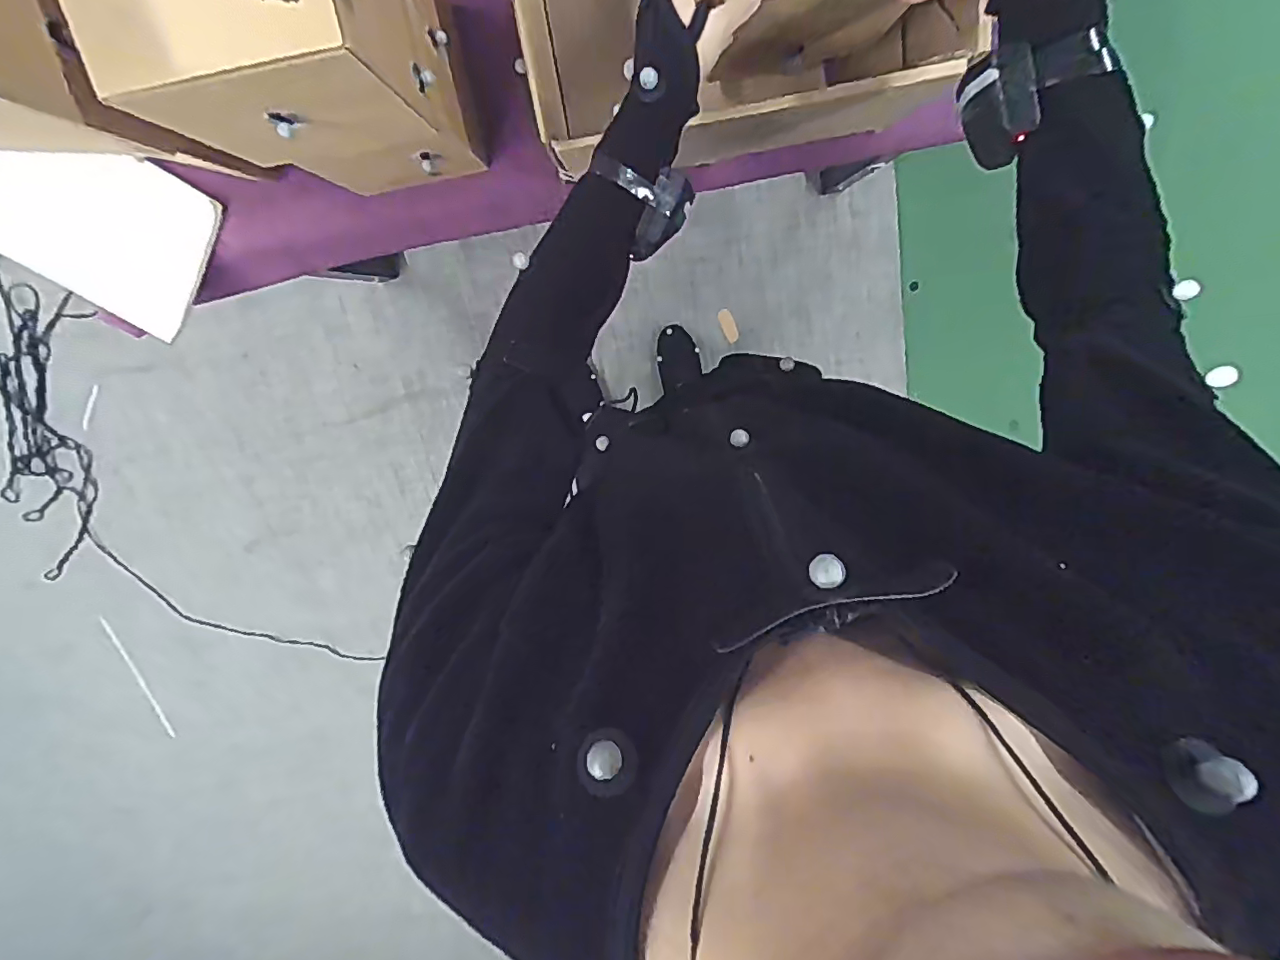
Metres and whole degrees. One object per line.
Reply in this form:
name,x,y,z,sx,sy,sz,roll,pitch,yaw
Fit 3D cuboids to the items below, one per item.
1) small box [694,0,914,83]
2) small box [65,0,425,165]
small box,0.138,-0.473,0.456,0.179,0.176,0.168,-9,107,4
small box,-0.284,-0.363,0.409,0.179,0.176,0.168,-10,105,3
